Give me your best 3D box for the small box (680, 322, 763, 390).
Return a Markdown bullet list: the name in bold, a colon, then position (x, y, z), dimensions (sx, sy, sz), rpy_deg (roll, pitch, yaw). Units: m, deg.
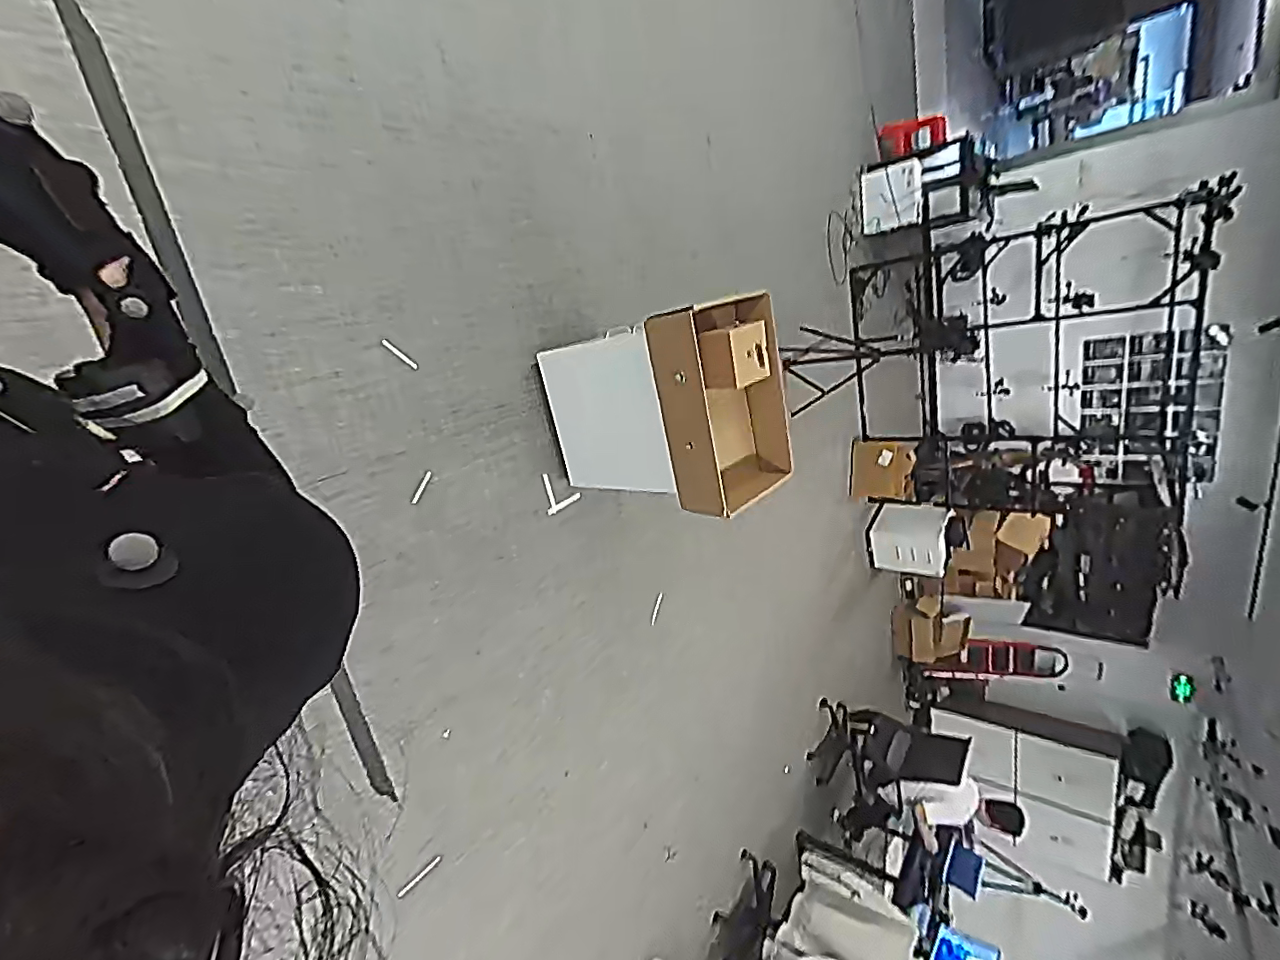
- **small box**: position (0.245, -0.372, 1.624), dimensions (0.179, 0.176, 0.168), rpy_deg (-27, 113, -40)
